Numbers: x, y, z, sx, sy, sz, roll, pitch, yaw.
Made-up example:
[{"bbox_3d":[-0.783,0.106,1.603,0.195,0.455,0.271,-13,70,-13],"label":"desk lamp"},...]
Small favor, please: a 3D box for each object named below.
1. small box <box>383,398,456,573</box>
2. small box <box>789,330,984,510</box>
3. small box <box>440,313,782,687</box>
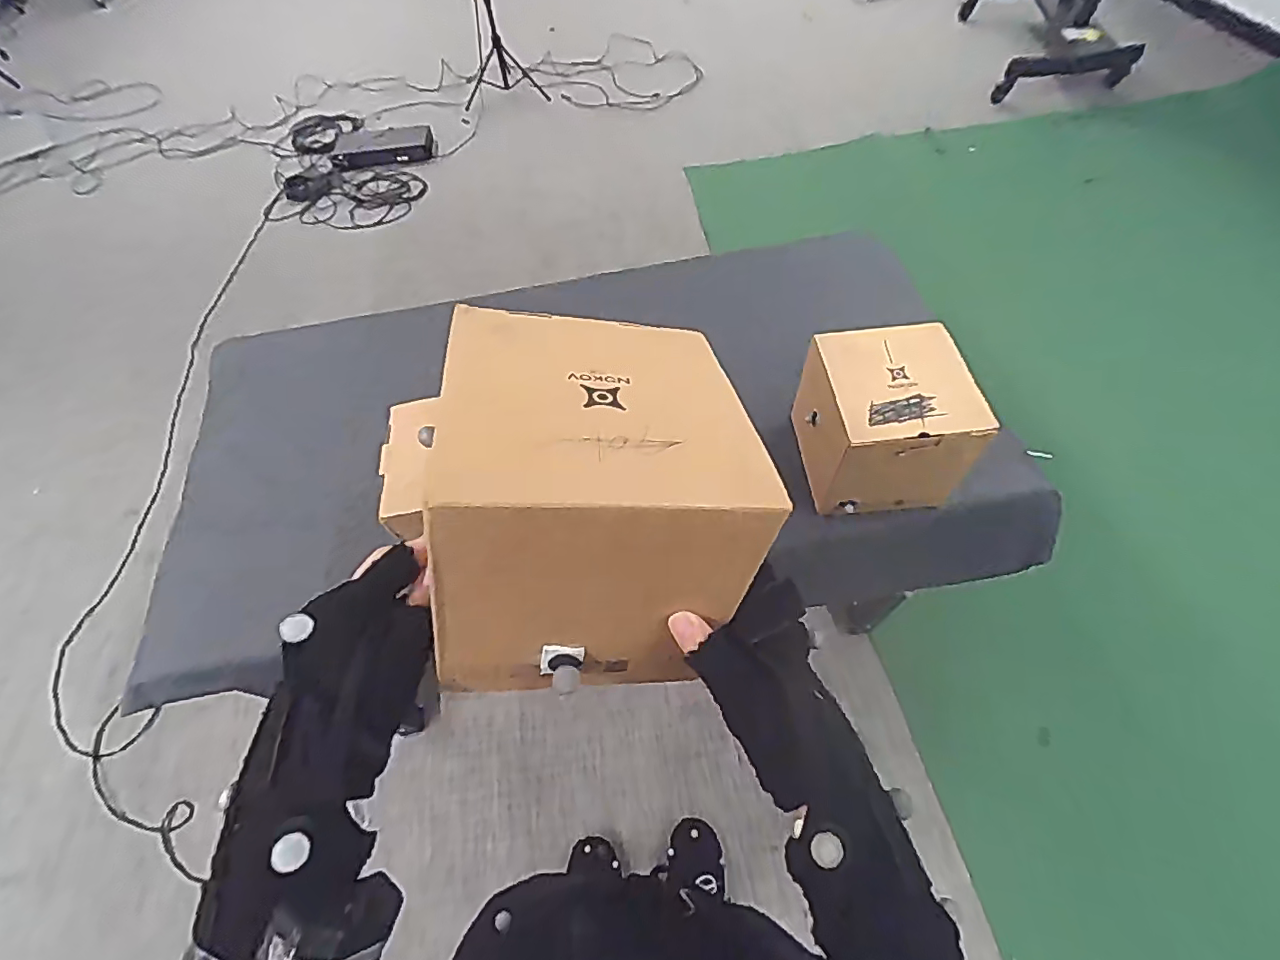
[{"bbox_3d":[-0.201,0.007,0.701,0.179,0.176,0.168,-9,56,-2],"label":"small box"},{"bbox_3d":[0.307,-0.070,0.718,0.168,0.176,0.179,-5,57,1],"label":"small box"},{"bbox_3d":[-0.036,0.014,0.361,0.168,0.176,0.179,2,44,-15],"label":"small box"}]
